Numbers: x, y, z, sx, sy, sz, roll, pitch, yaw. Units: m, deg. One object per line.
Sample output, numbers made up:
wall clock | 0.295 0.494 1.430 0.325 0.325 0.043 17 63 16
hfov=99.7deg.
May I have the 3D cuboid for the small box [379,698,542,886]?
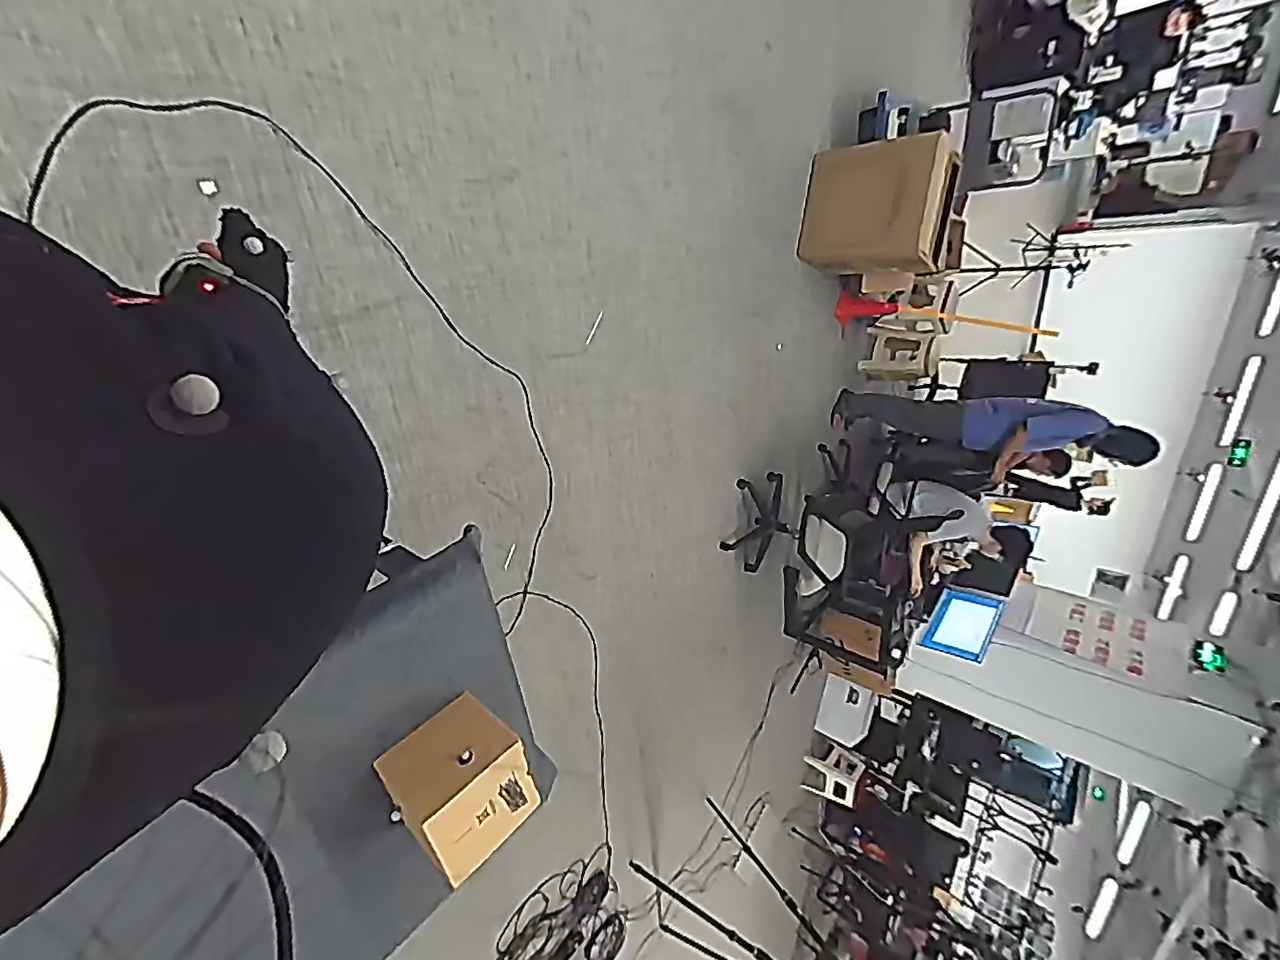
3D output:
small box | -0.297 0.506 0.904 0.179 0.176 0.168 -32 124 -38
